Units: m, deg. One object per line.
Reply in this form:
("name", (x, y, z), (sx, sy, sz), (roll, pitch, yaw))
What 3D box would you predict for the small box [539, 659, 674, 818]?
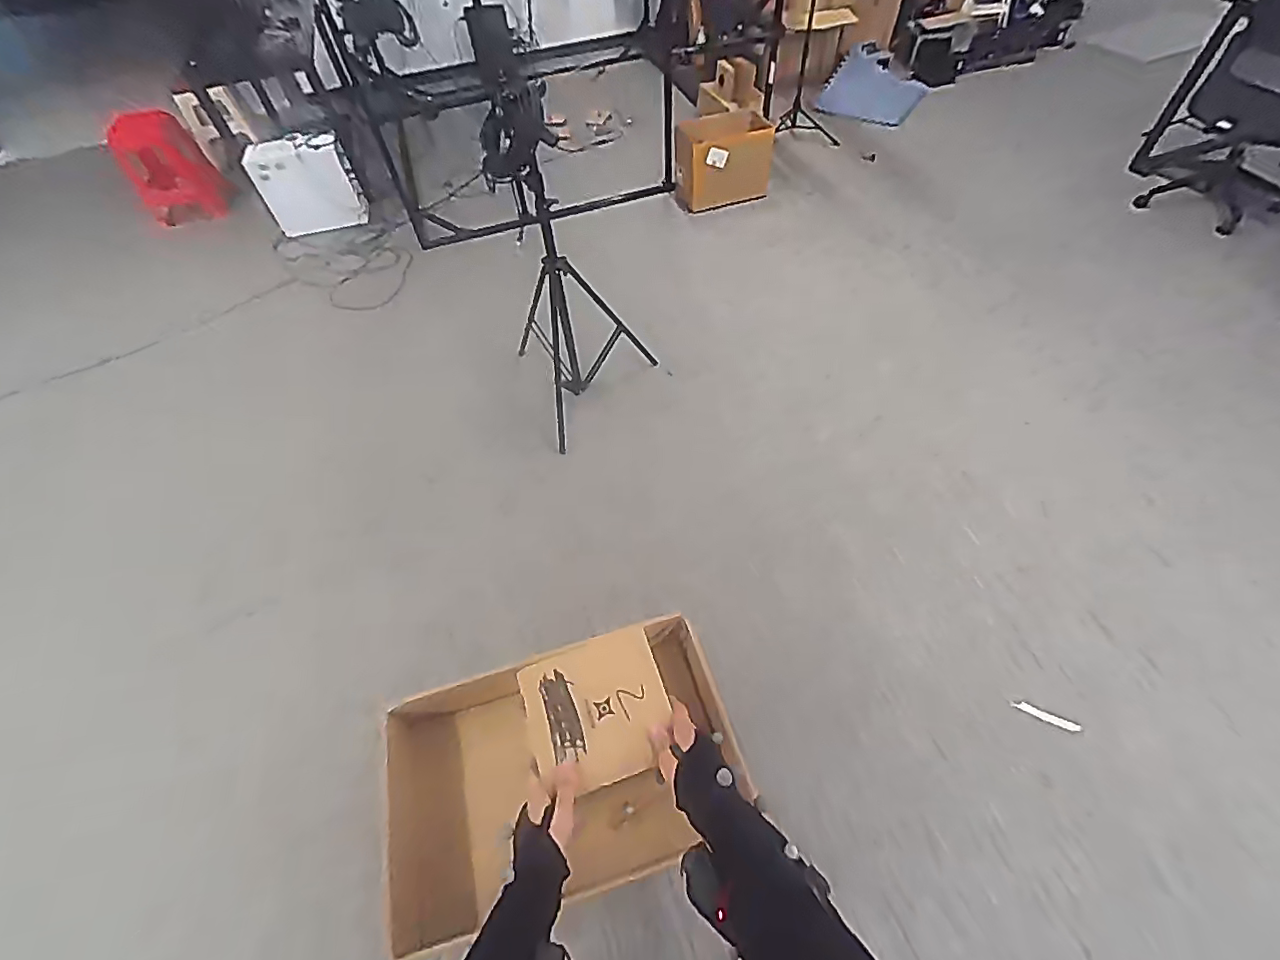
("small box", (-0.050, 0.418, 0.868), (0.168, 0.176, 0.179), (-18, 56, -6))
